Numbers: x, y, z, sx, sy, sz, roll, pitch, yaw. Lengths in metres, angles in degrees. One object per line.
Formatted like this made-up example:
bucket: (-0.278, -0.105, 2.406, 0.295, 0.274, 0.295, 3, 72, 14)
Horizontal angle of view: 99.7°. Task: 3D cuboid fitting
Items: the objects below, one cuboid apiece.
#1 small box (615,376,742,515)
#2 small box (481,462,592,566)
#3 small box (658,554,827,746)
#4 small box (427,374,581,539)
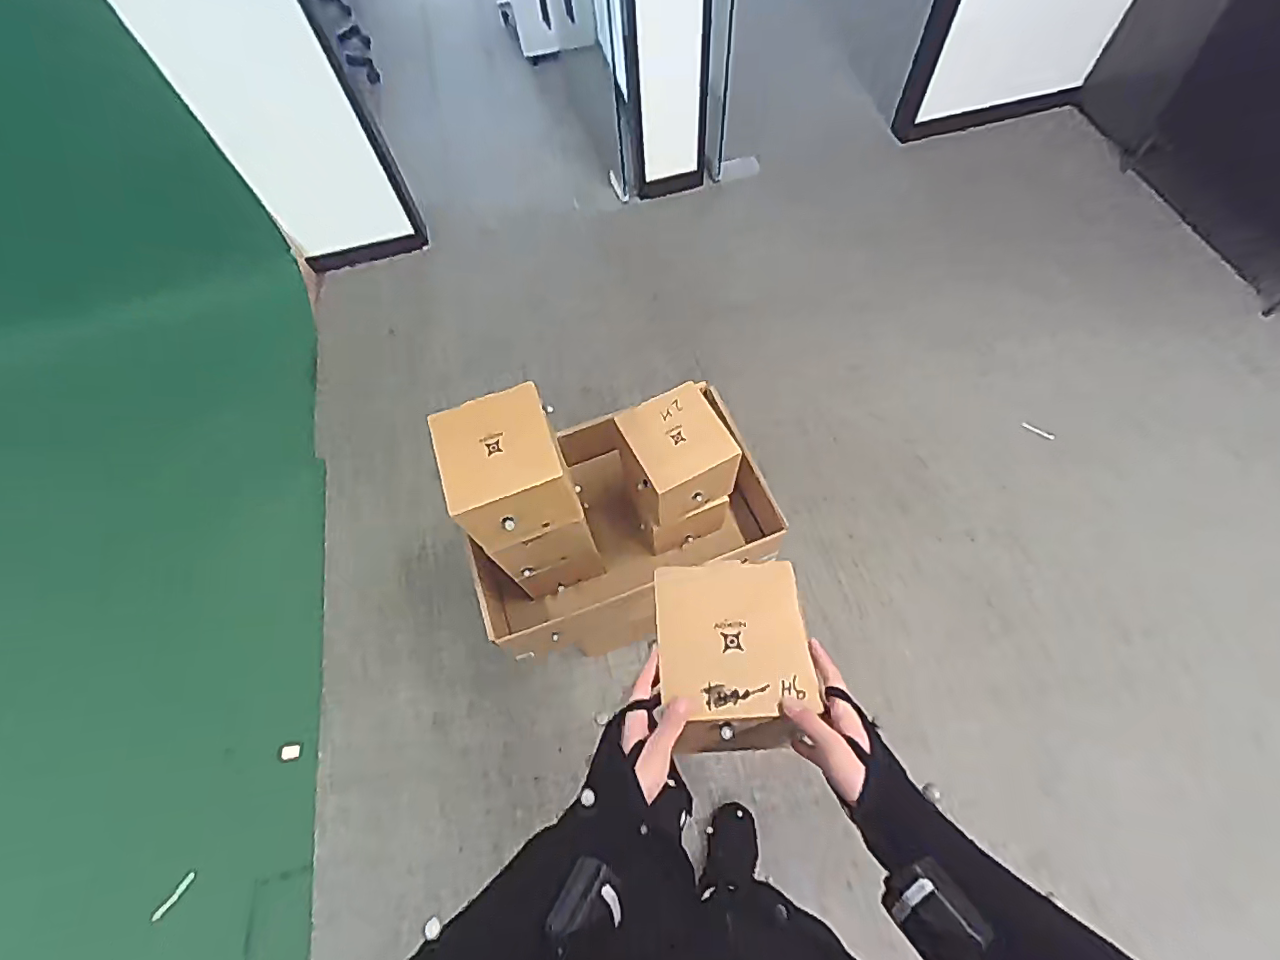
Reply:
small box: (0.070, -0.052, 1.004, 0.168, 0.176, 0.179, -25, 66, -9)
small box: (-0.194, 0.042, 0.977, 0.168, 0.176, 0.179, -18, 64, -5)
small box: (0.105, 0.206, 0.648, 0.168, 0.176, 0.179, -3, 54, 2)
small box: (-0.200, -0.024, 0.829, 0.168, 0.176, 0.179, -20, 64, -5)
